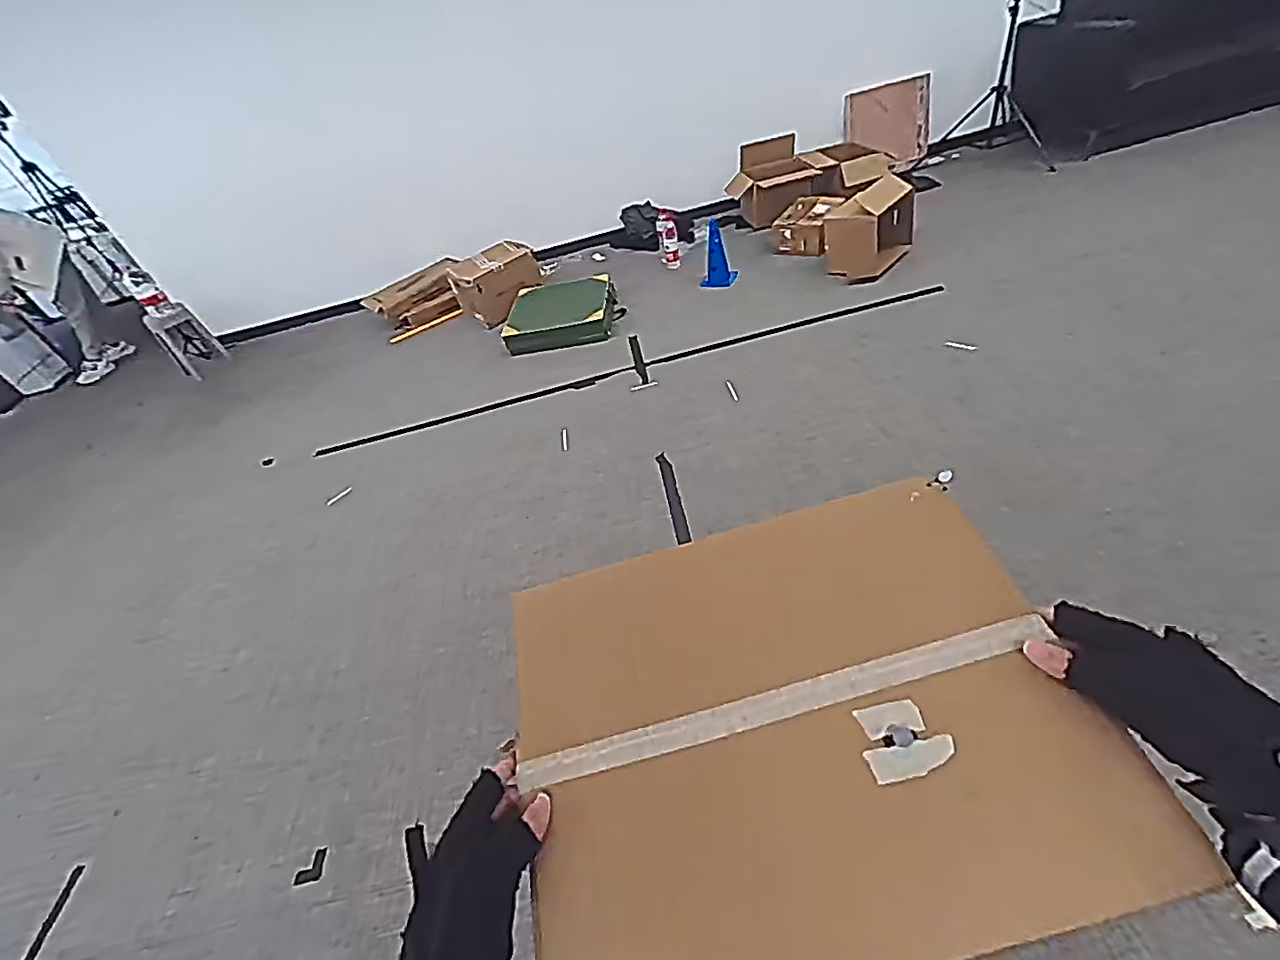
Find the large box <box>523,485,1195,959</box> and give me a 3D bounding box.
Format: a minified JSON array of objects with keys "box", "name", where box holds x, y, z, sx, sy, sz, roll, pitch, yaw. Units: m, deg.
[{"box":[0.138,0.265,0.530,0.408,0.320,0.320,-17,51,0],"name":"large box"}]
